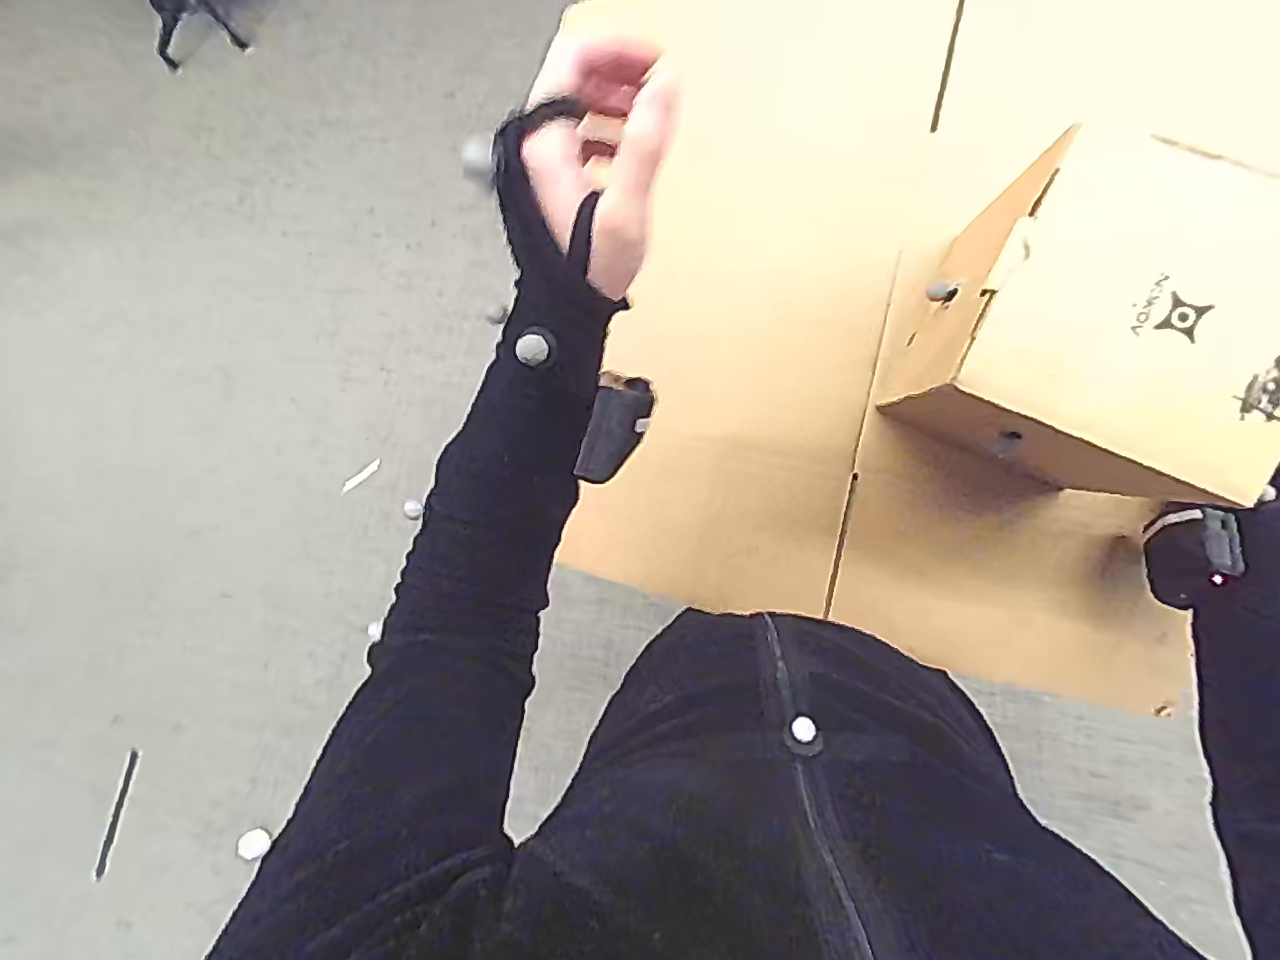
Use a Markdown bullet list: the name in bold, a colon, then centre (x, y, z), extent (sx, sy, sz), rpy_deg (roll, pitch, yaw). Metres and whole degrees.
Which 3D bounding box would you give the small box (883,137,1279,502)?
- **small box**: centre (0.306, -0.096, 0.391), extent (0.179, 0.176, 0.168), rpy_deg (25, 96, 8)
